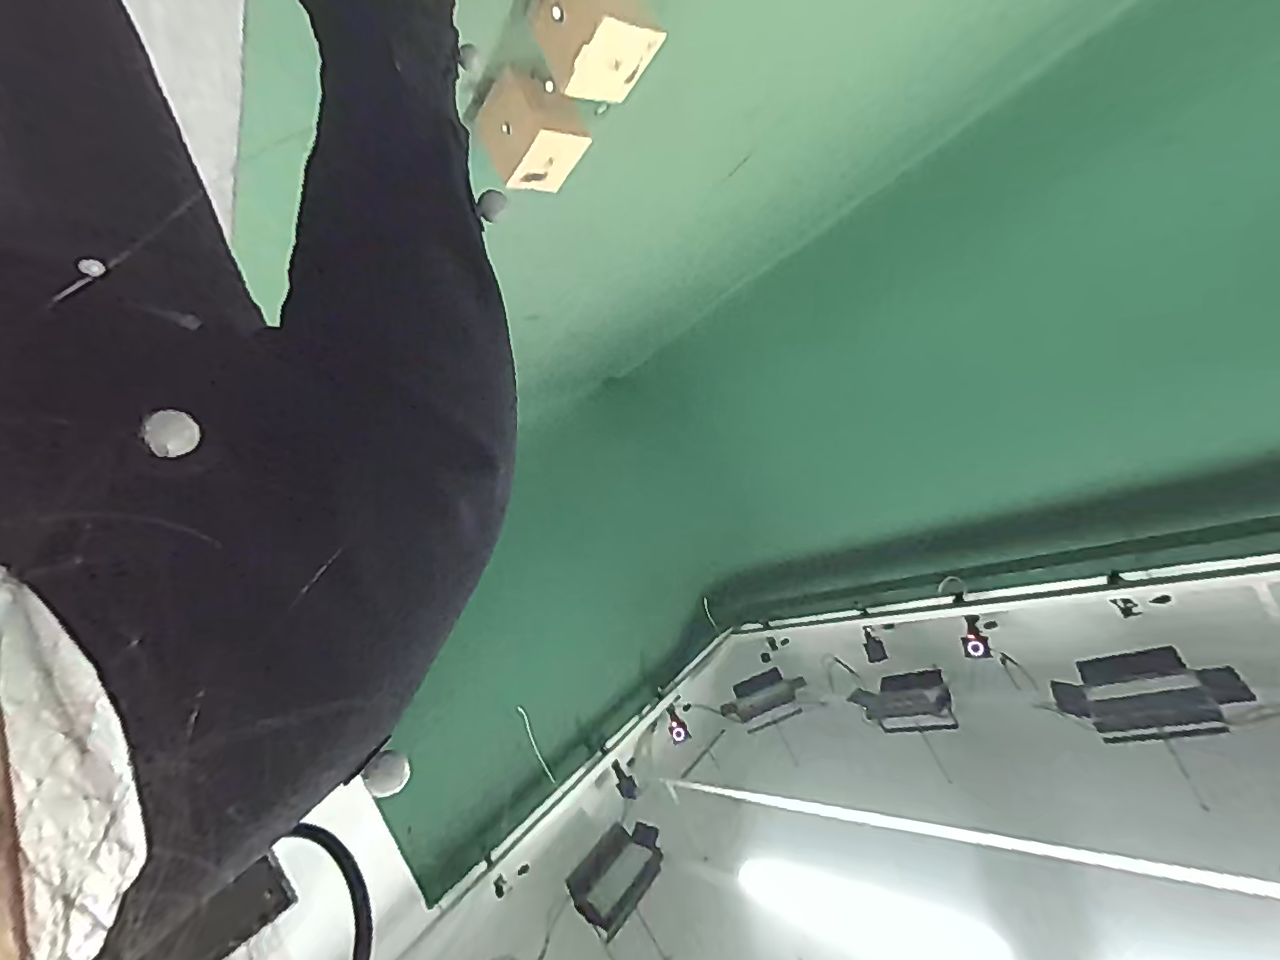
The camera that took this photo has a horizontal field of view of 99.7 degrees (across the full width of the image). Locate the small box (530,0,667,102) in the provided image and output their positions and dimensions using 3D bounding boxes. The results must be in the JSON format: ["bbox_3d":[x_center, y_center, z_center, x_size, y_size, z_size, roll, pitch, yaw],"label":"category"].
[{"bbox_3d":[-0.087,-0.895,1.063,0.179,0.176,0.168,-26,180,-41],"label":"small box"}]

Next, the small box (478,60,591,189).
[{"bbox_3d":[-0.252,-0.816,1.258,0.179,0.176,0.168,-26,-179,45],"label":"small box"}]
